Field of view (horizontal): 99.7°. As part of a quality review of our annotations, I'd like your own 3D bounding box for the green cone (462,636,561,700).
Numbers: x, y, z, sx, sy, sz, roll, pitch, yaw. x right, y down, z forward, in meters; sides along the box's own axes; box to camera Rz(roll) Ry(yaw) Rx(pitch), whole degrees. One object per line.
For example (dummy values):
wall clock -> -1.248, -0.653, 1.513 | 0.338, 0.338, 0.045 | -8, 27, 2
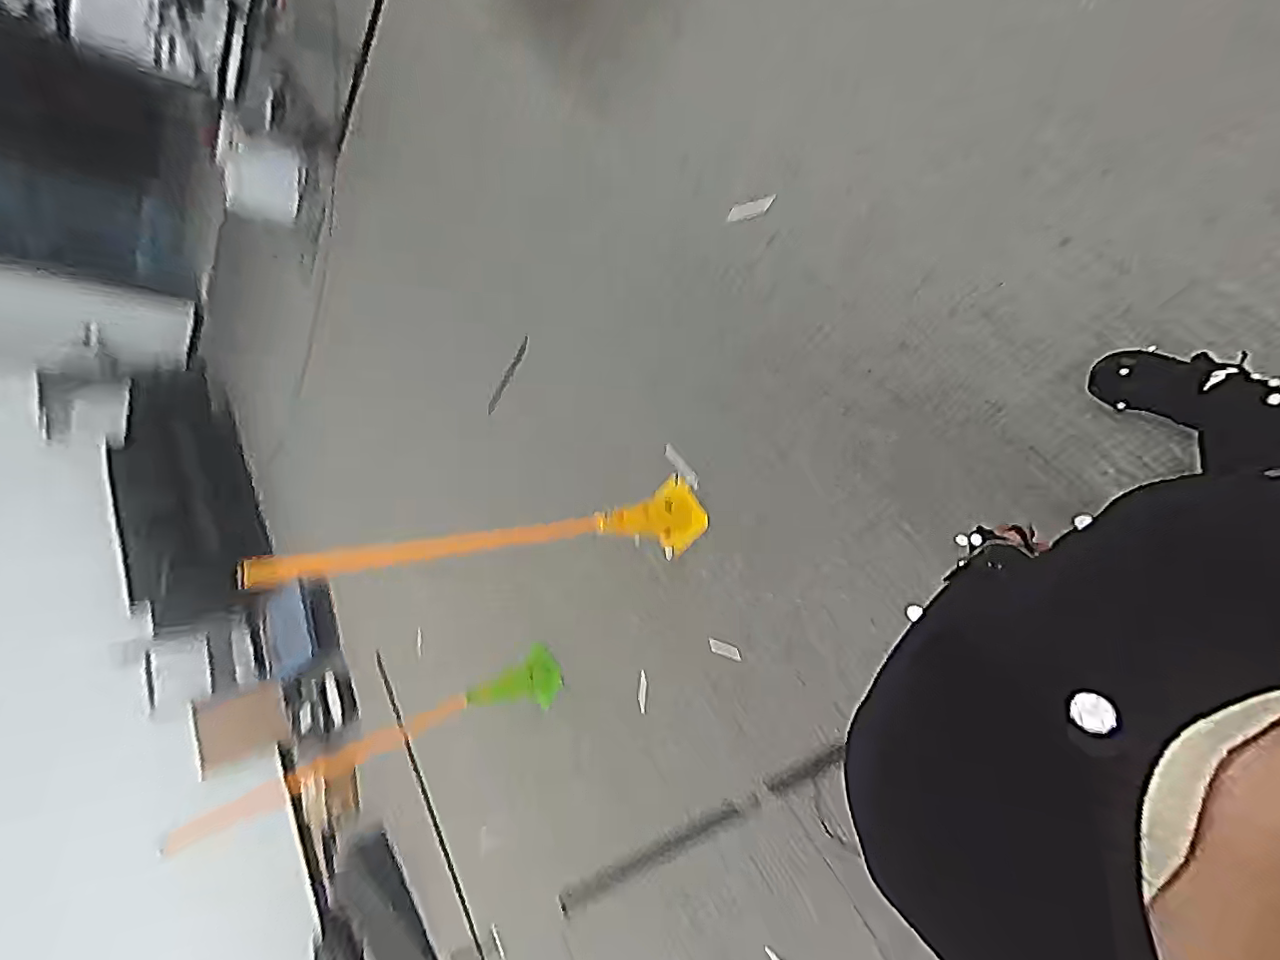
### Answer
green cone -> -0.521, 0.774, 2.095 | 0.200, 0.368, 0.202 | 46, 117, 30
